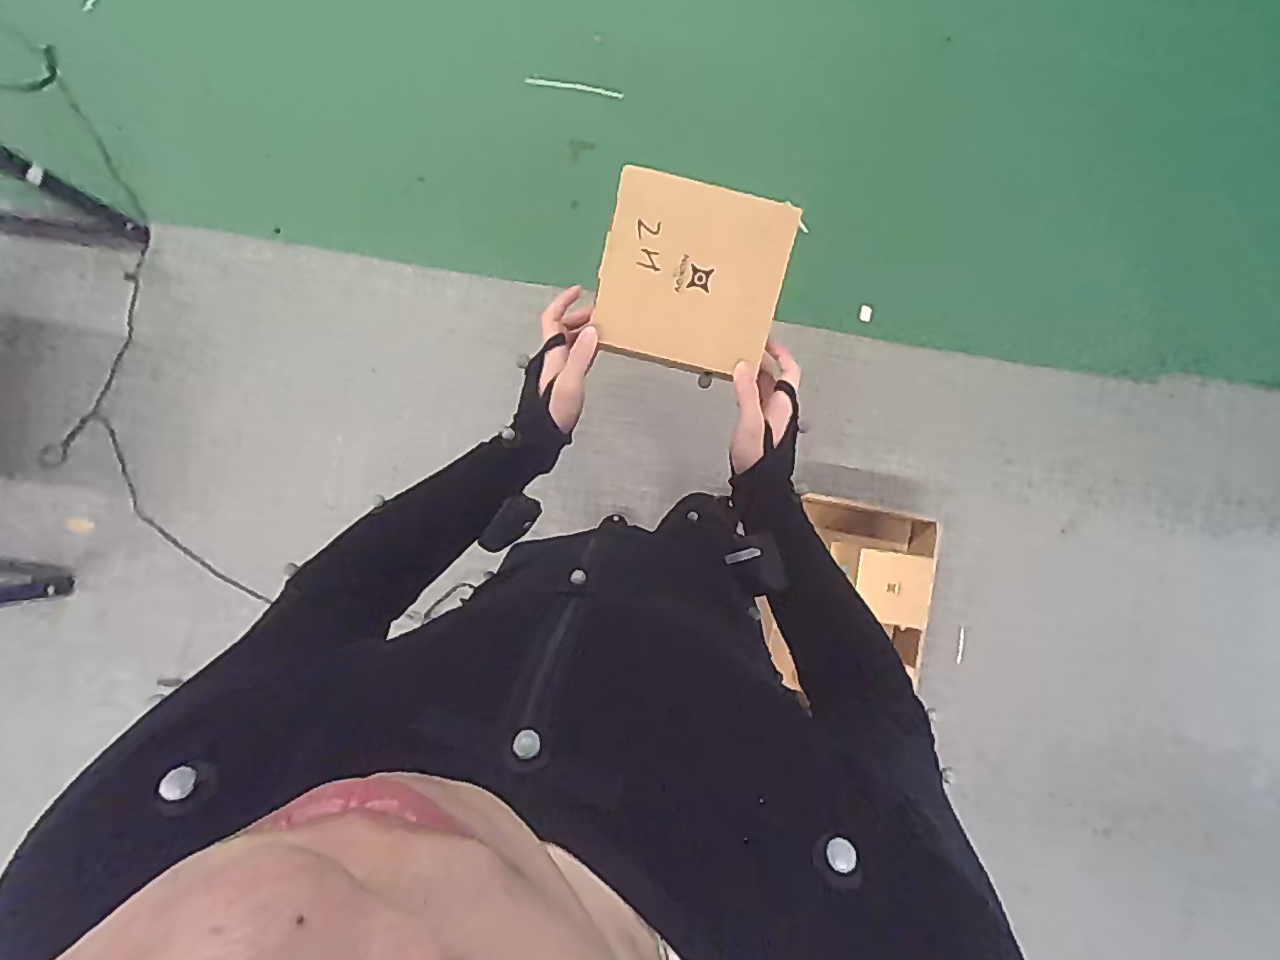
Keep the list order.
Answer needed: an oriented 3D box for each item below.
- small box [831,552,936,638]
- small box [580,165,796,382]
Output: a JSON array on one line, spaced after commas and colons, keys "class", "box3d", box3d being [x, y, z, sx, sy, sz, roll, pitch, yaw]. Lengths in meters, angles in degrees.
[{"class": "small box", "box3d": [0.584, 0.273, 1.319, 0.179, 0.176, 0.168, 9, 88, 1]}, {"class": "small box", "box3d": [0.045, -0.209, 0.596, 0.179, 0.176, 0.168, 14, 99, -1]}]
